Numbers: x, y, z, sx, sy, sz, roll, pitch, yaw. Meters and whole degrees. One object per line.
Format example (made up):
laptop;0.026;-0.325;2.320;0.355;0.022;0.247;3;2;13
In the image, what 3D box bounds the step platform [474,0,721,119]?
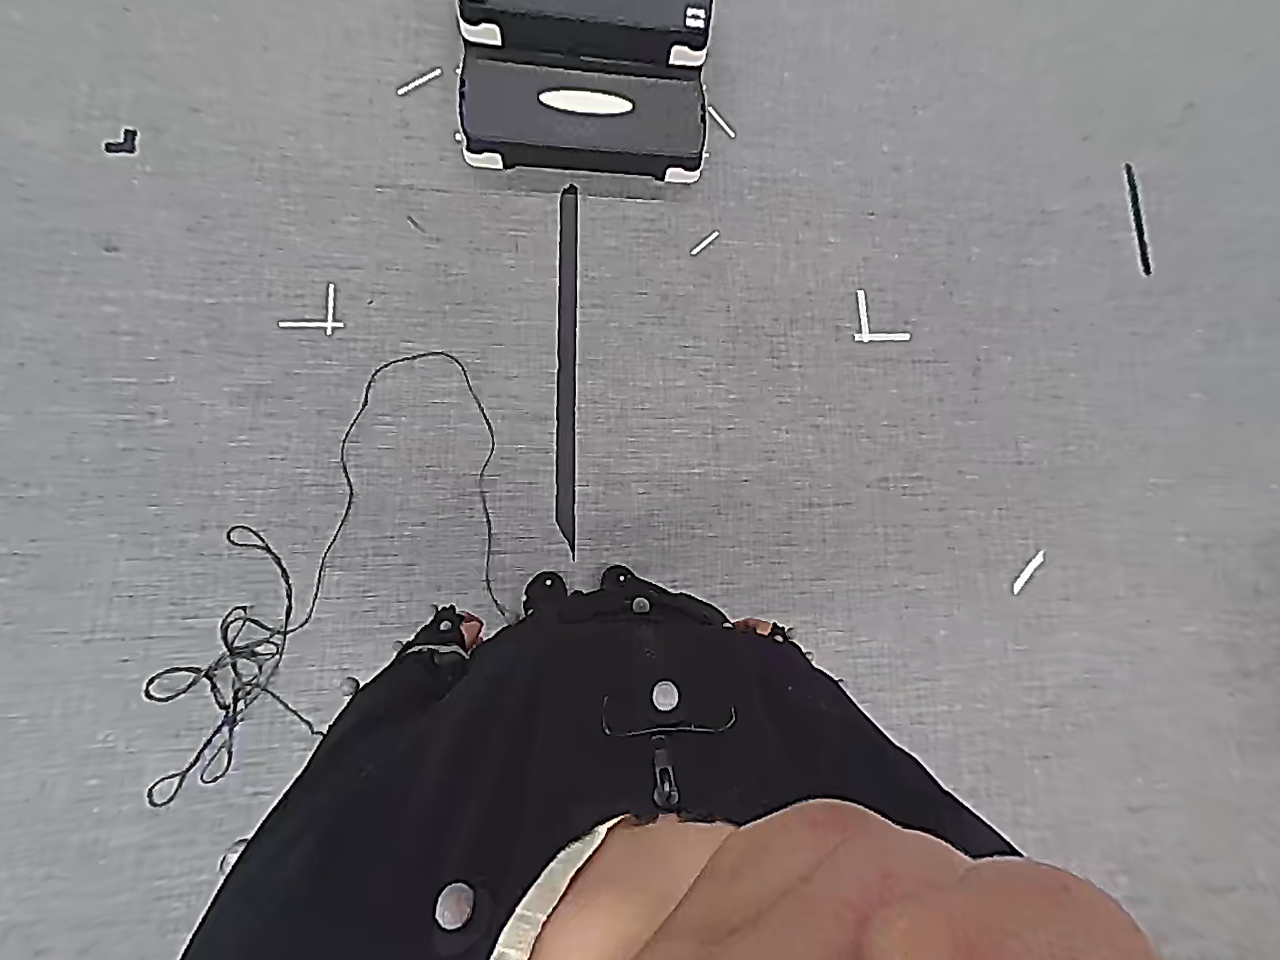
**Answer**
step platform;-0.115;-1.262;1.528;0.684;0.204;0.286;5;81;-7
